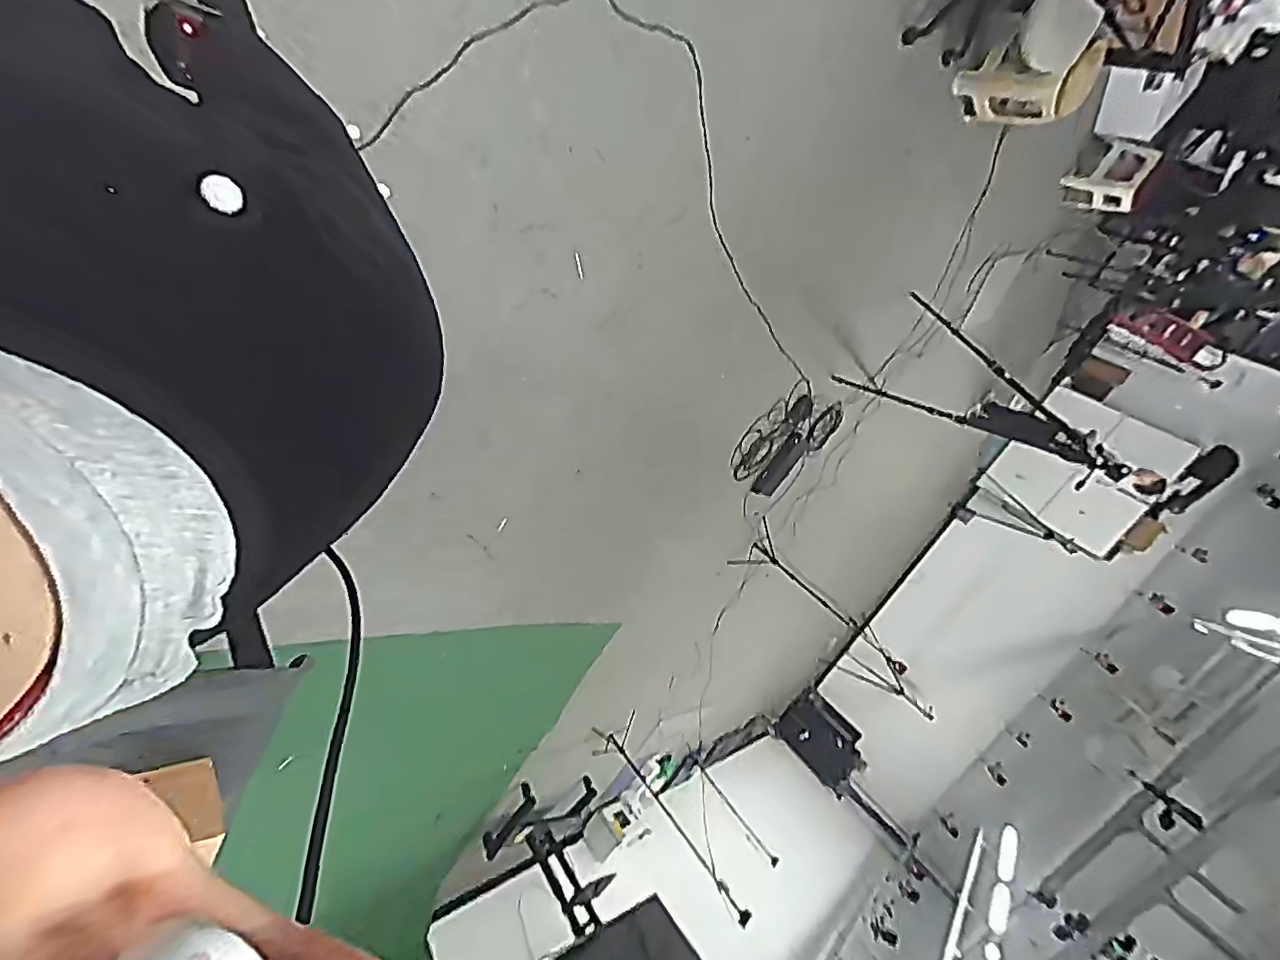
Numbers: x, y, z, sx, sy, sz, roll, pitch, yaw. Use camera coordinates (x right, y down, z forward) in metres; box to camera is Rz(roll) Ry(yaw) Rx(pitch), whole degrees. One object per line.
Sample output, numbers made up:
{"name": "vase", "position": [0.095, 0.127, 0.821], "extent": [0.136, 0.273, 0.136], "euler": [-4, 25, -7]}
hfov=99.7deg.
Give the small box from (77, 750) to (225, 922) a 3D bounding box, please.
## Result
{"name": "small box", "position": [-0.901, 0.640, 0.993], "extent": [0.168, 0.176, 0.179], "euler": [10, 118, -53]}
